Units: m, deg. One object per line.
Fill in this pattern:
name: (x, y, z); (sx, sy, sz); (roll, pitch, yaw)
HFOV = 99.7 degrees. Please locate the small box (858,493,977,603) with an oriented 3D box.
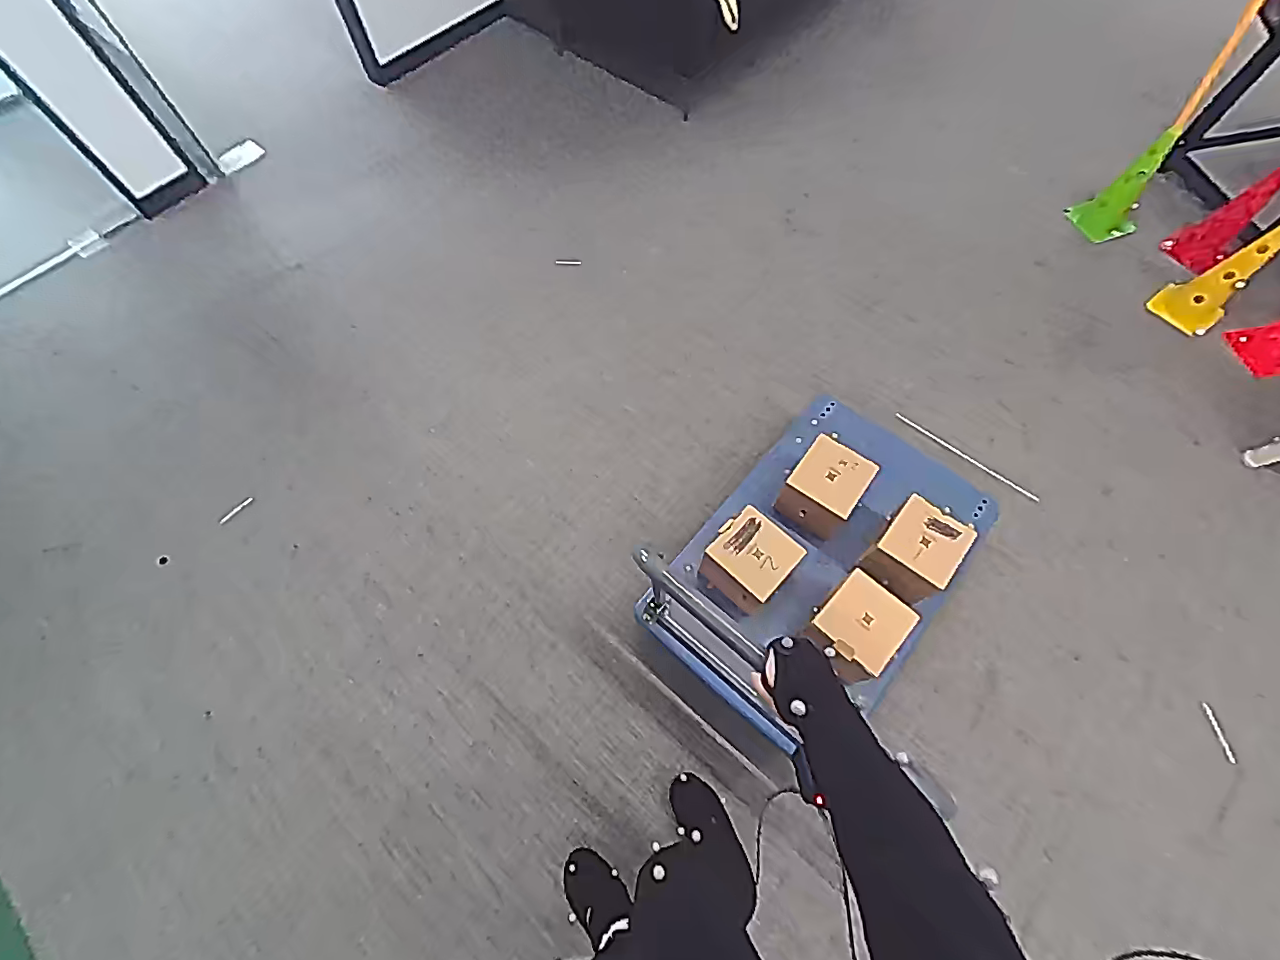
small box: (0.660, 0.170, 1.310); (0.168, 0.176, 0.179); (37, 72, 17)

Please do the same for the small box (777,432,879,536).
small box: (0.470, 0.018, 1.384); (0.168, 0.176, 0.179); (35, 71, 15)

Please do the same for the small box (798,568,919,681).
small box: (0.489, 0.336, 1.241); (0.168, 0.176, 0.179); (41, 73, 18)
